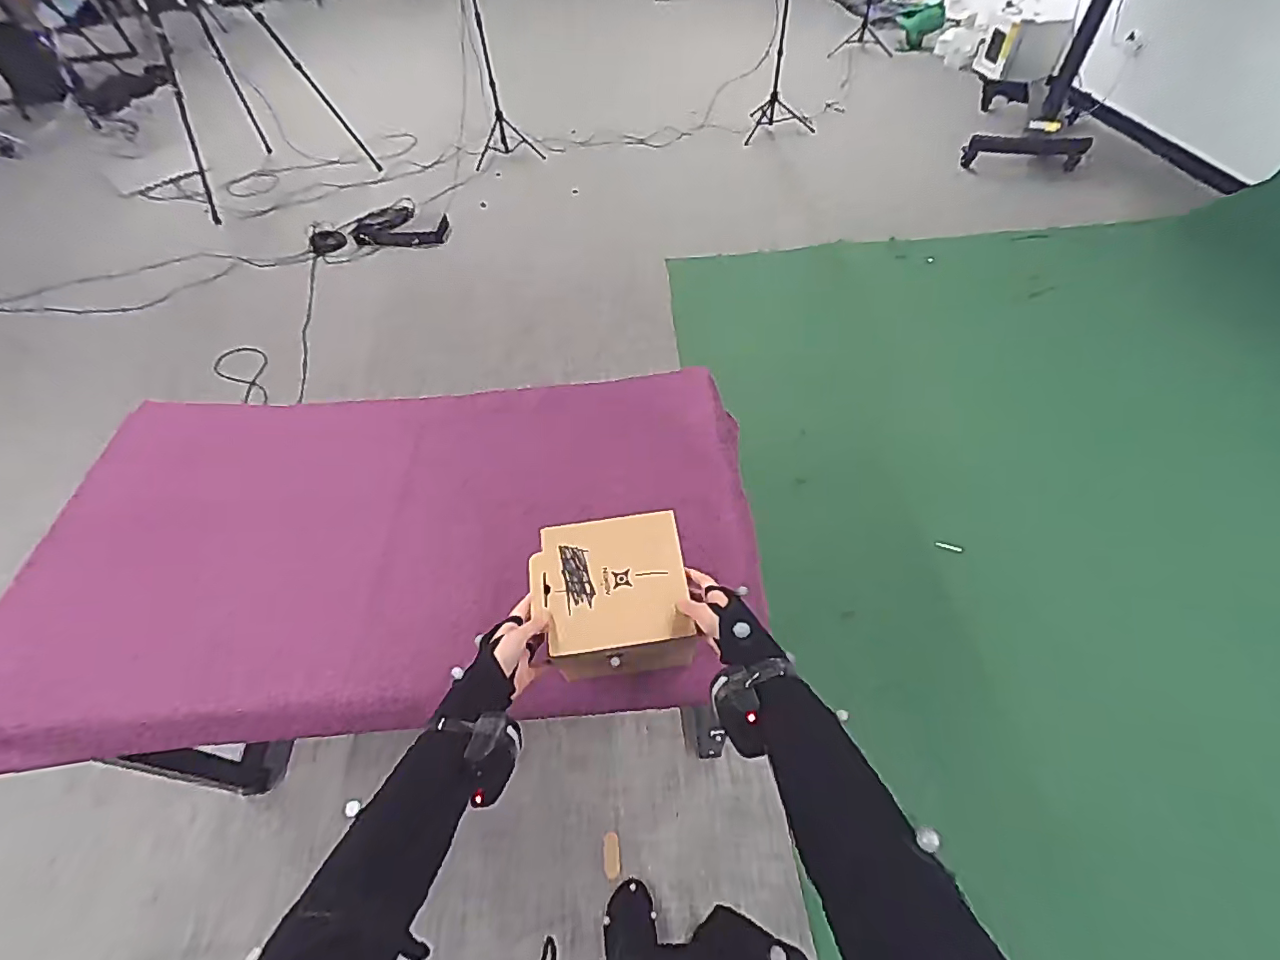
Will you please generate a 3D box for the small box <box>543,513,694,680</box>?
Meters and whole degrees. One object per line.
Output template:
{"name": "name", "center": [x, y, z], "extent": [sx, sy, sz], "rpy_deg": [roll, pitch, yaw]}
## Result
{"name": "small box", "center": [-0.027, 0.164, 0.734], "extent": [0.179, 0.176, 0.168], "rpy_deg": [-8, 60, -2]}
